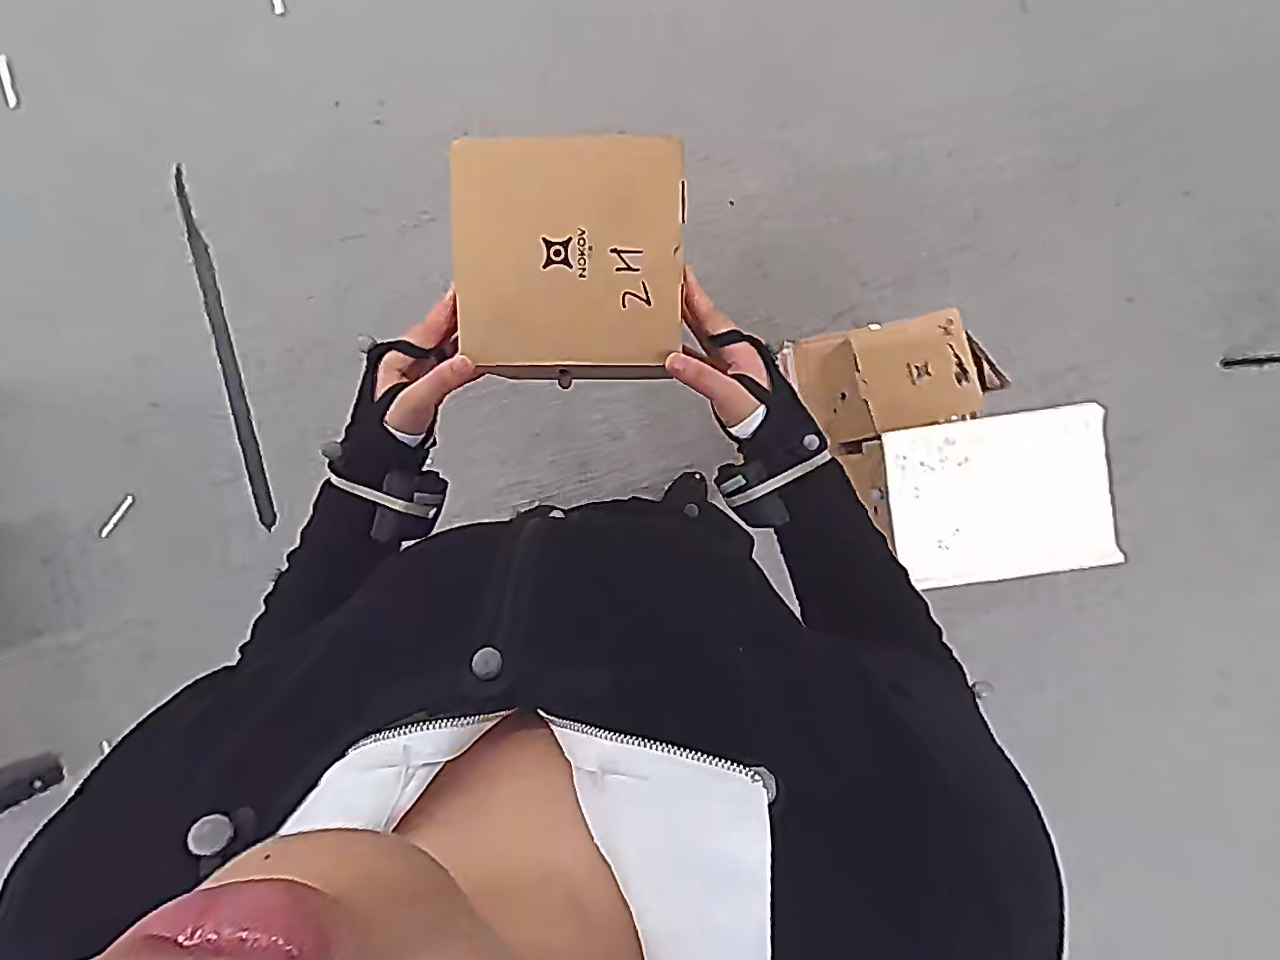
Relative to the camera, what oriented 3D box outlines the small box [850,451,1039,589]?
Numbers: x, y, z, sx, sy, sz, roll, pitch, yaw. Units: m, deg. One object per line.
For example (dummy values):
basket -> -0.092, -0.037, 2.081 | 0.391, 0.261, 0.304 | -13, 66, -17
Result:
small box -> 0.428, 0.048, 0.784 | 0.179, 0.176, 0.168 | -8, 92, 2
